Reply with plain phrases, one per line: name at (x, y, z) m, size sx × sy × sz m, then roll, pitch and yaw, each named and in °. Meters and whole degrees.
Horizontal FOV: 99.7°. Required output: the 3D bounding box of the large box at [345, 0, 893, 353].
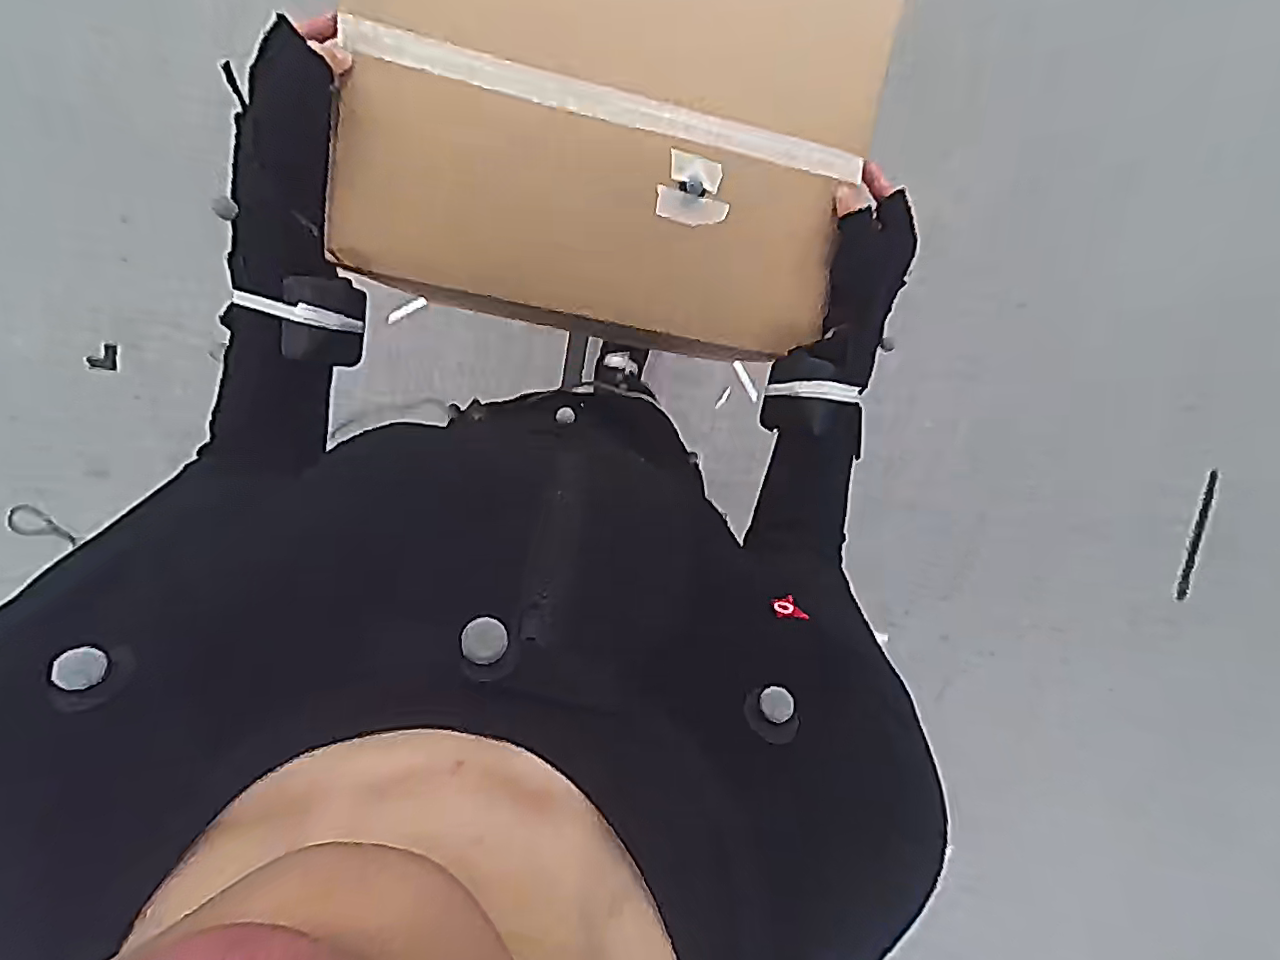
large box at (-0.035, -0.323, 0.566) m, size 0.408 × 0.320 × 0.320 m, roll 9°, pitch 102°, yaw -11°
